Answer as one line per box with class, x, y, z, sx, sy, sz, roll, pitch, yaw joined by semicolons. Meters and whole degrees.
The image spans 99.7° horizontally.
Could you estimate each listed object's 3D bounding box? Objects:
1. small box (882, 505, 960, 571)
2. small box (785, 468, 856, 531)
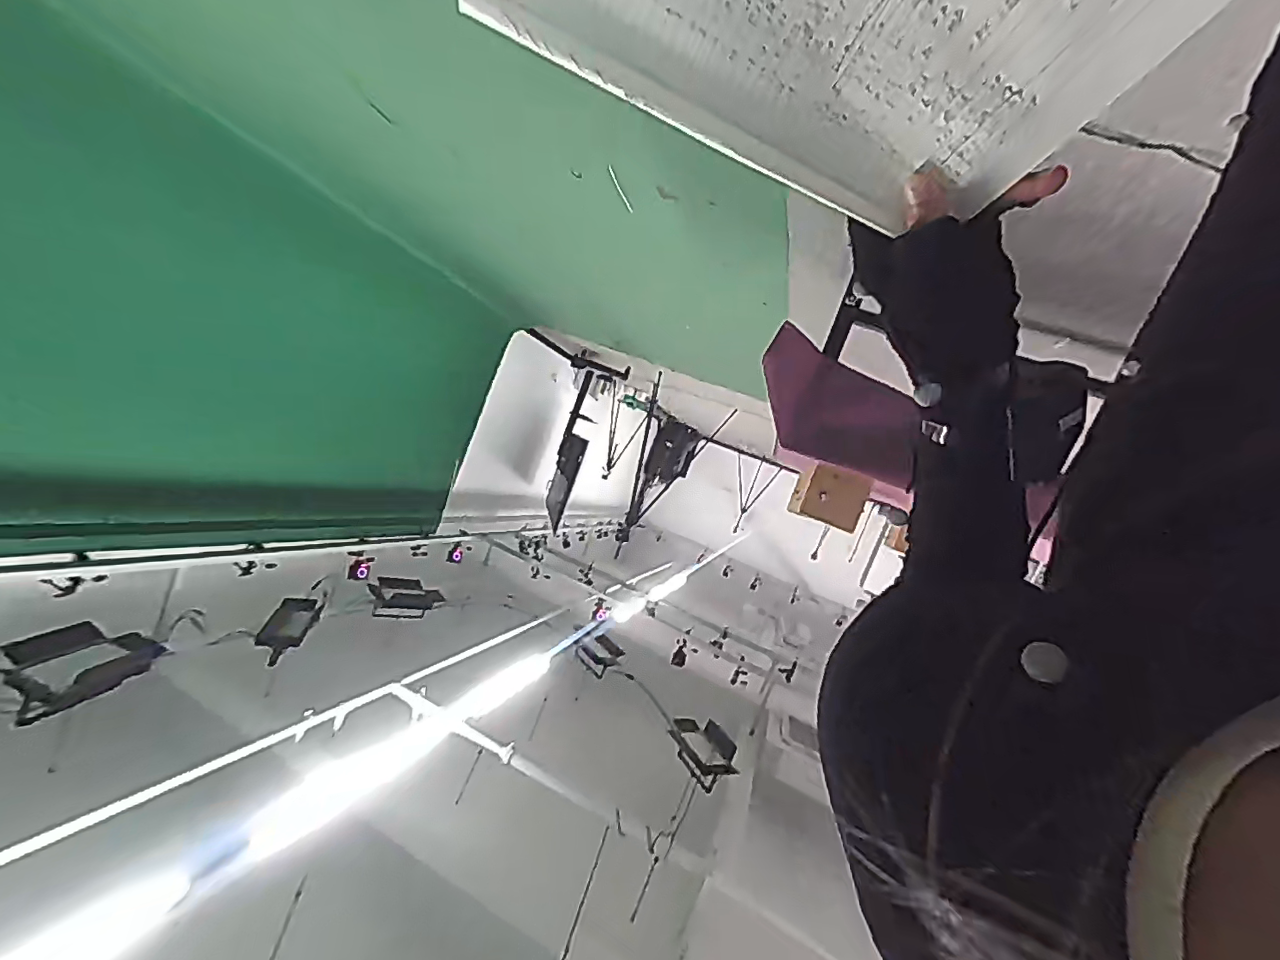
small box;0.927;0.186;1.785;0.168;0.176;0.179;22;-177;14
small box;0.615;0.063;1.842;0.168;0.176;0.179;22;-178;7
